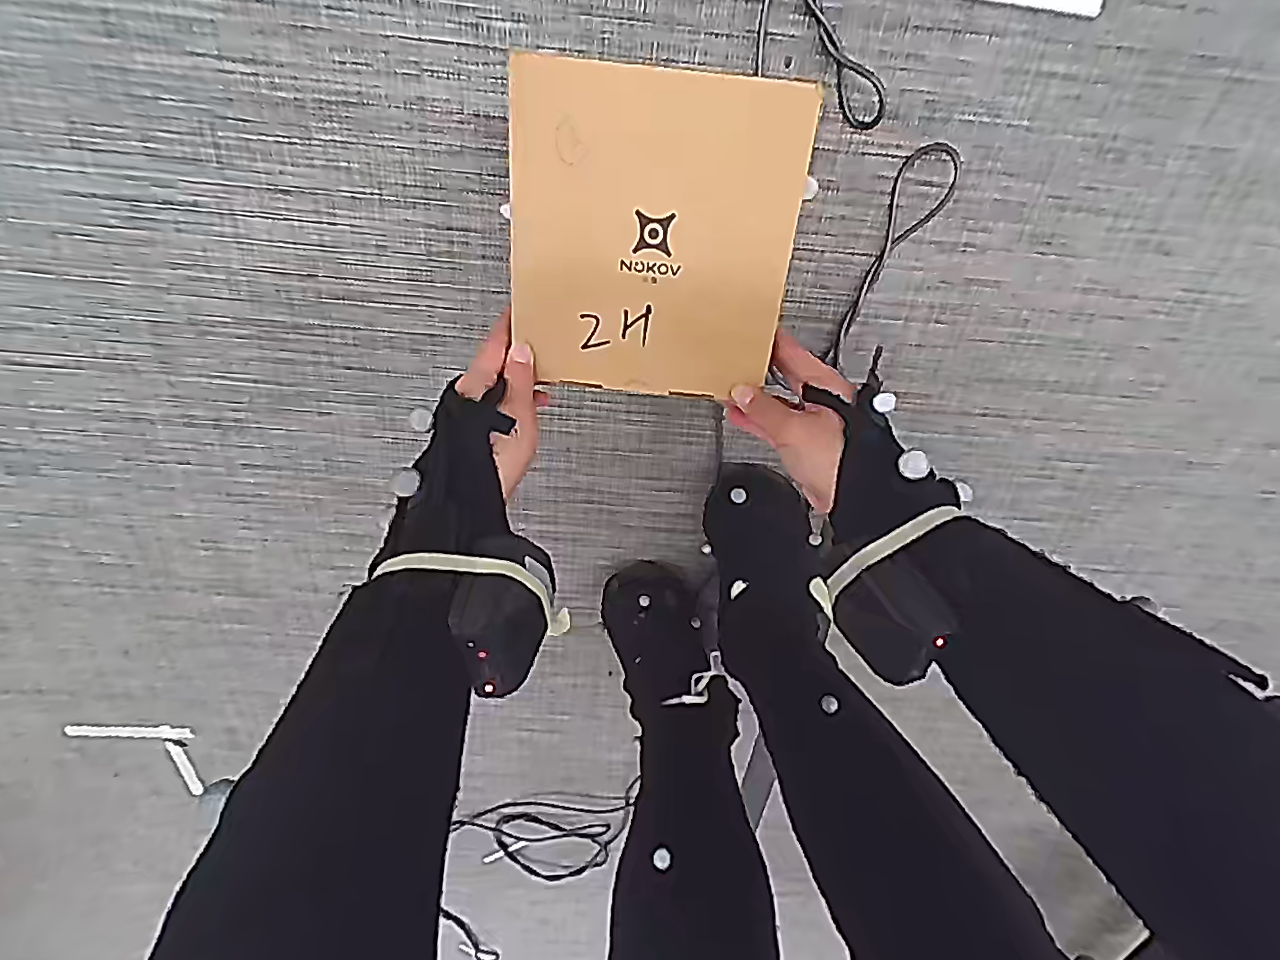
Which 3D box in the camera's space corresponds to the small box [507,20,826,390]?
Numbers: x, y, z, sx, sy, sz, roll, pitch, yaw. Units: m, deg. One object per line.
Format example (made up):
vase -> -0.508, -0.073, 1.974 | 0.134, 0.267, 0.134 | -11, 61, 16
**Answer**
small box -> 0.008, -0.178, 0.379 | 0.168, 0.176, 0.179 | 6, 117, -1
